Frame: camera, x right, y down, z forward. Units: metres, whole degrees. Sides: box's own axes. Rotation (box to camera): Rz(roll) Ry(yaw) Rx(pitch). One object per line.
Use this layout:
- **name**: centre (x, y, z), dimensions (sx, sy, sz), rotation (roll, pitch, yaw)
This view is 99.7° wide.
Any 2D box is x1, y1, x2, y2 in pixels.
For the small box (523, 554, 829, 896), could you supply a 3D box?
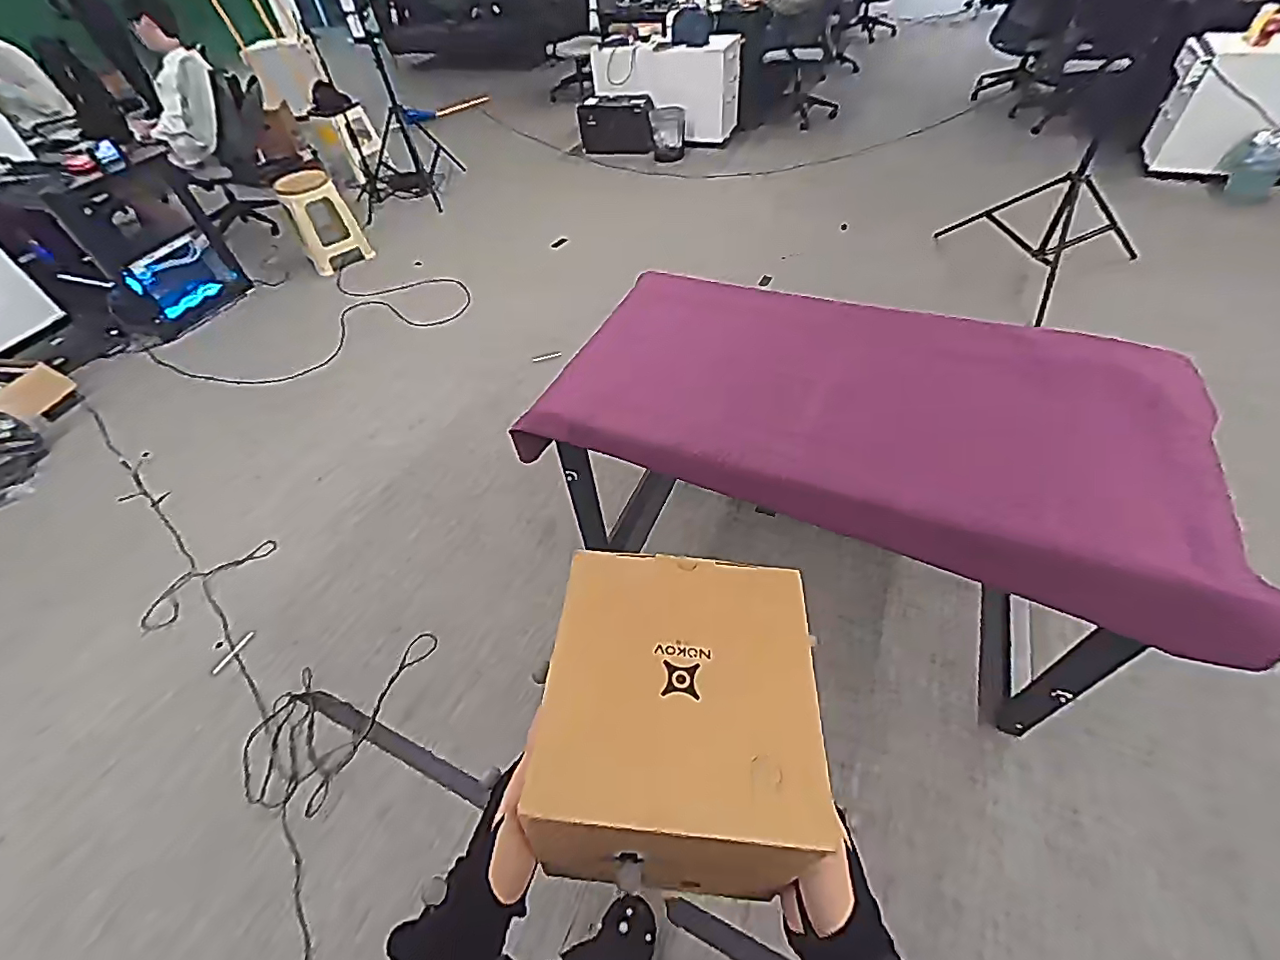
- **small box**: centre (0.024, 0.180, 0.396), dimensions (0.168, 0.176, 0.179), rotation (5, 44, 2)
